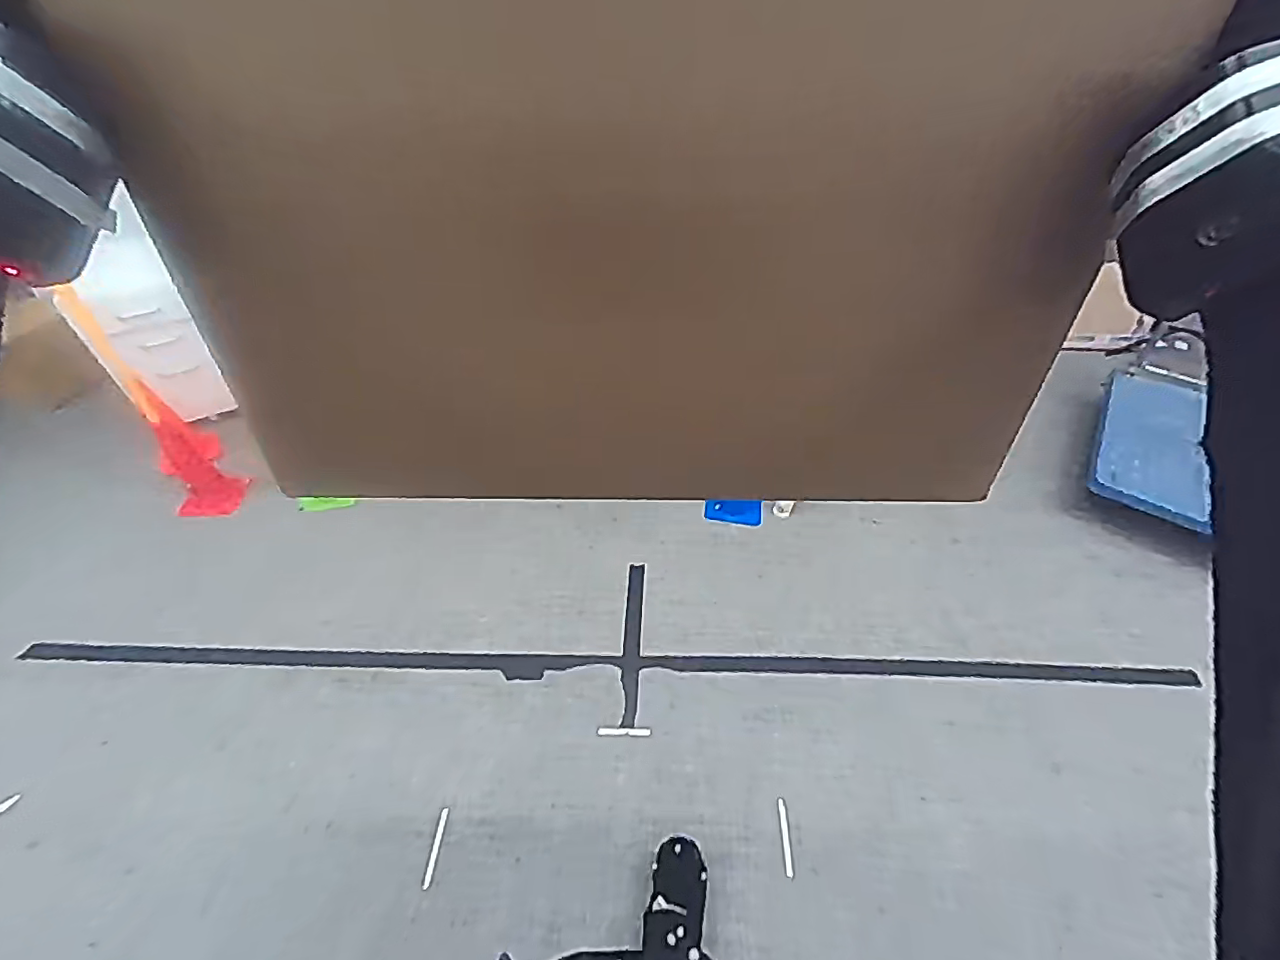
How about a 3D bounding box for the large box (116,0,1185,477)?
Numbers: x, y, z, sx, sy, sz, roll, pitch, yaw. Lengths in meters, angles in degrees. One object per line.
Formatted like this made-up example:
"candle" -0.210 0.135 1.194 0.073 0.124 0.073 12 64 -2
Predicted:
"large box" 0.001 -0.209 0.355 0.408 0.320 0.320 1 37 -1
